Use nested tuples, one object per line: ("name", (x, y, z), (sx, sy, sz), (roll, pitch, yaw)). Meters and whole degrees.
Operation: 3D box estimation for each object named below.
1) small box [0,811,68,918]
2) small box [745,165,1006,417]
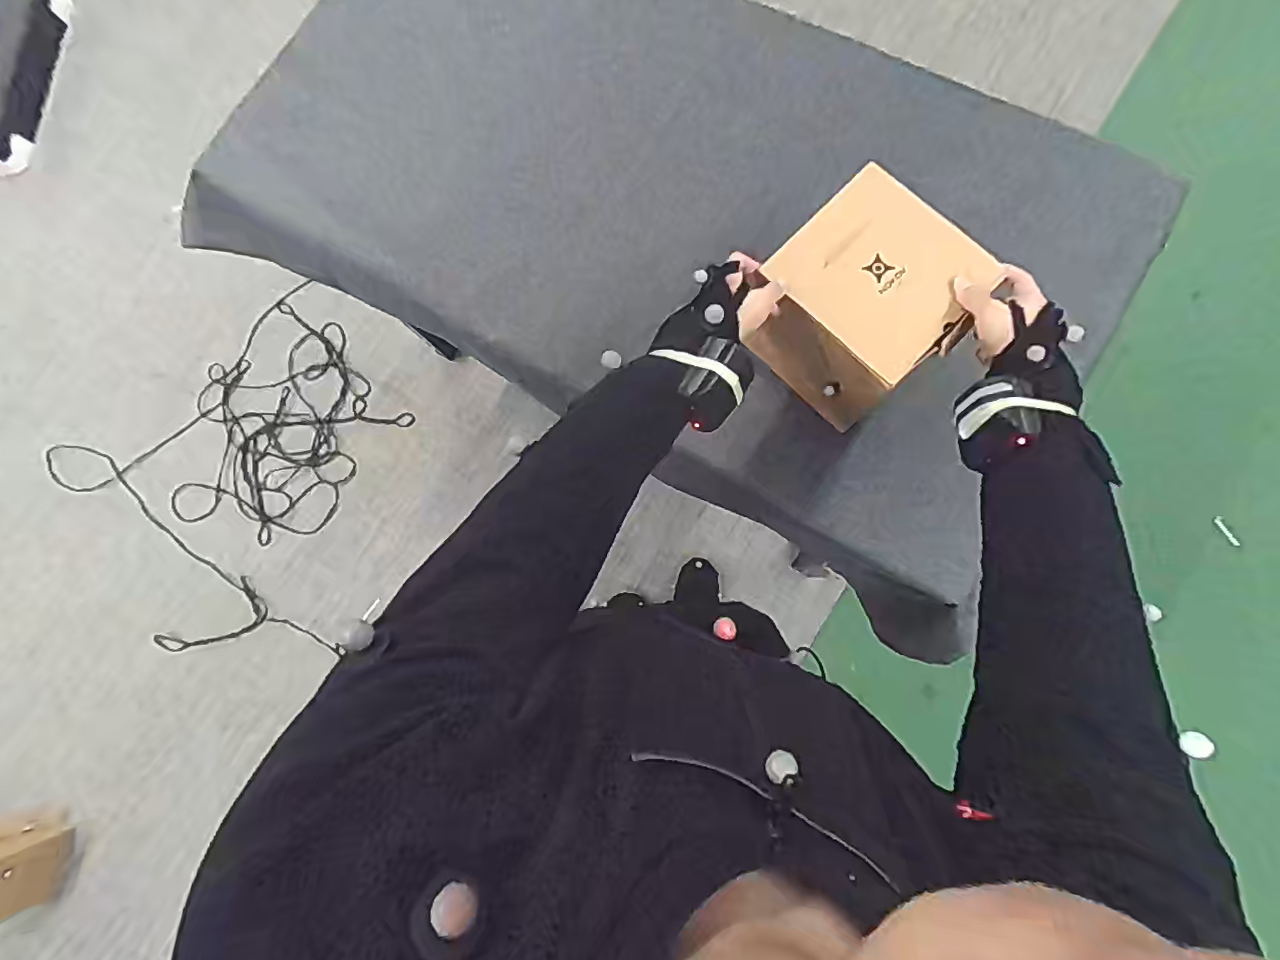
("small box", (-1.565, 0.946, 1.309), (0.168, 0.176, 0.179), (11, 81, 6))
("small box", (0.239, -0.189, 0.601), (0.168, 0.176, 0.179), (-44, 79, -4))
